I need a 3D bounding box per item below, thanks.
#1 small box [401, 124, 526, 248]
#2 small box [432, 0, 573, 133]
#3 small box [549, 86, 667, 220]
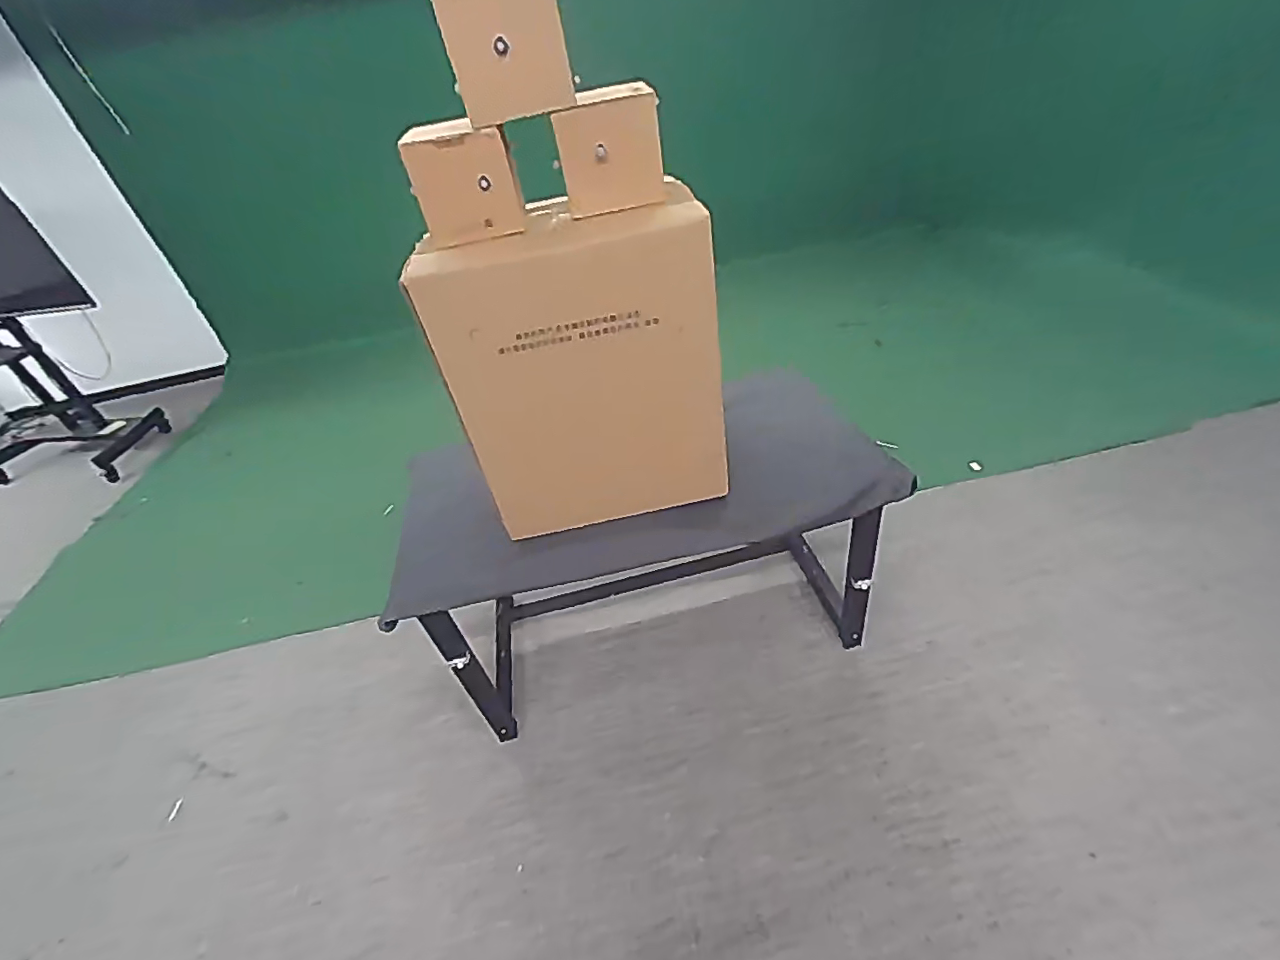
[{"bbox_3d":[-0.309,-0.538,0.986,0.168,0.176,0.179,-12,40,-2],"label":"small box"},{"bbox_3d":[-0.211,-0.688,0.880,0.179,0.176,0.168,-14,41,0],"label":"small box"},{"bbox_3d":[-0.058,-0.595,0.989,0.179,0.176,0.168,-12,42,1],"label":"small box"}]
